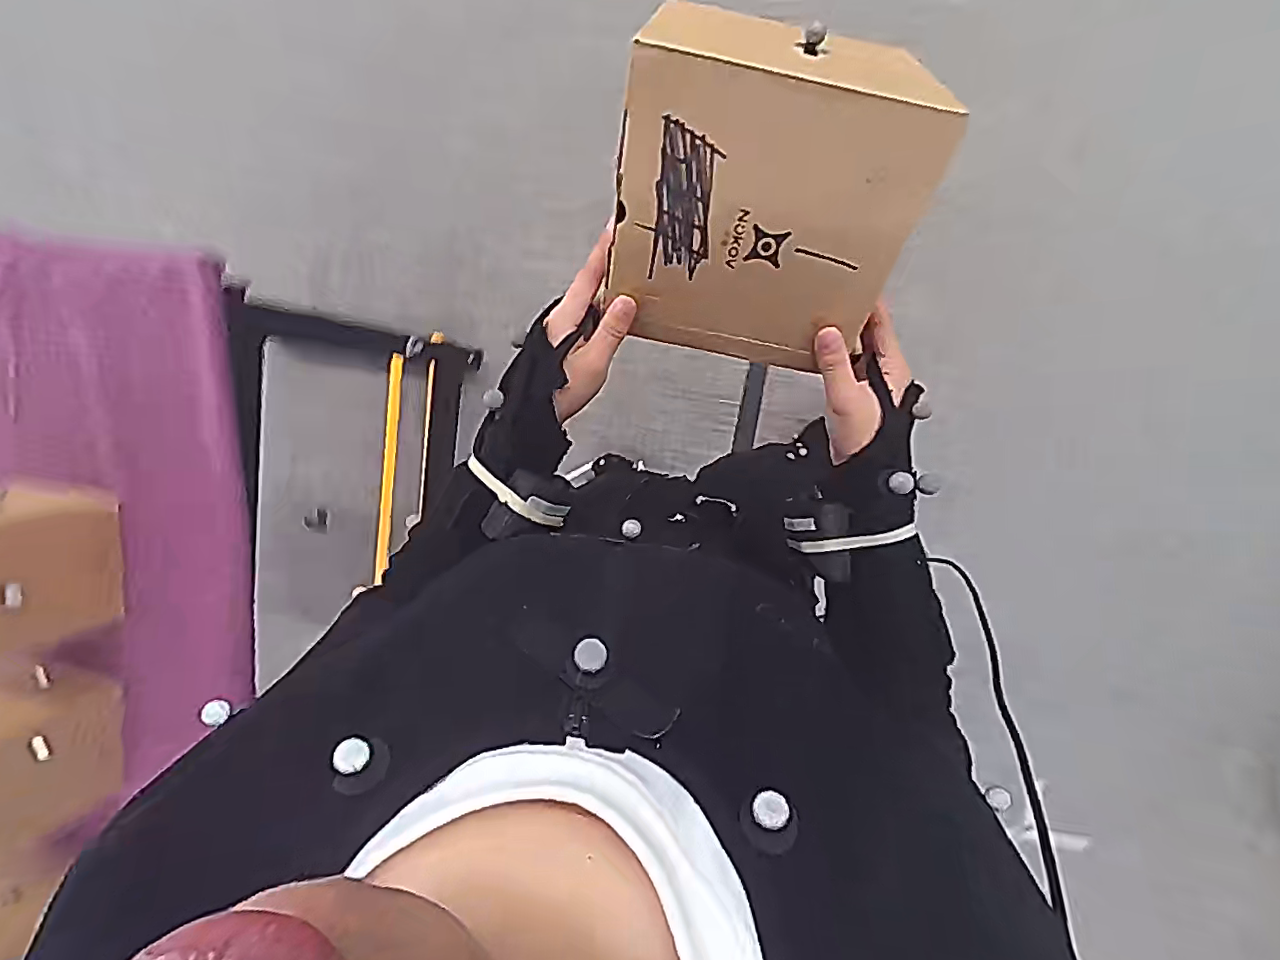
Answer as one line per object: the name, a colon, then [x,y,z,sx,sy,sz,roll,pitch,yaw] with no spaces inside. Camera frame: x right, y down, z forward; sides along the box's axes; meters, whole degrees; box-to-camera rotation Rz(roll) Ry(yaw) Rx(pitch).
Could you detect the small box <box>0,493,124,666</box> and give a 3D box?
small box: [-0.810,0.117,0.684,0.168,0.176,0.179,6,99,8]
